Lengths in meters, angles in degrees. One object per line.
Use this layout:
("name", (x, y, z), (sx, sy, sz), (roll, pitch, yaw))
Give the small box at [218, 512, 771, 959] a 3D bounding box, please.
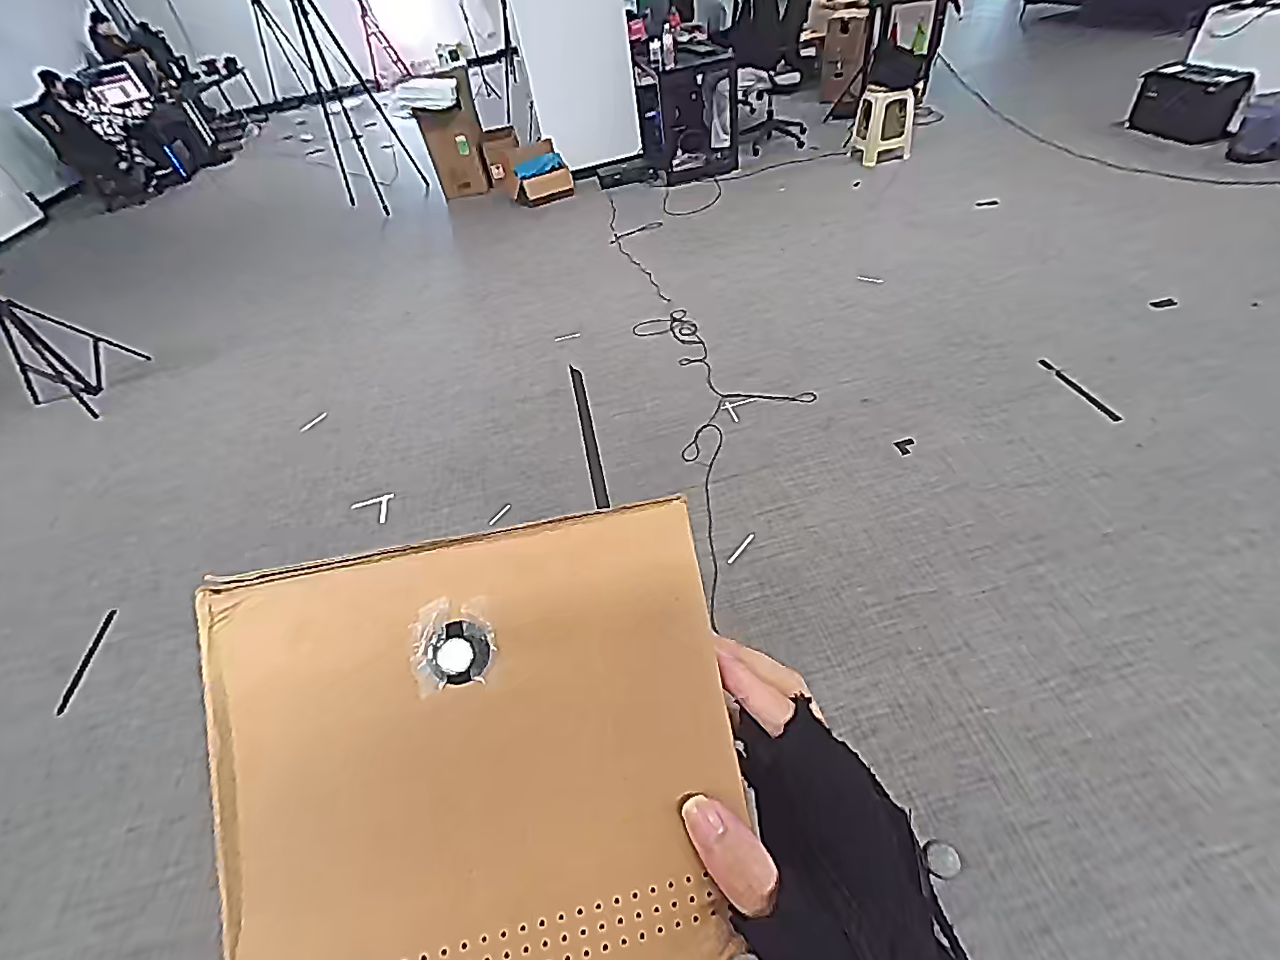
("small box", (-0.058, 0.120, 0.266), (0.179, 0.168, 0.176), (-9, 83, -8))
